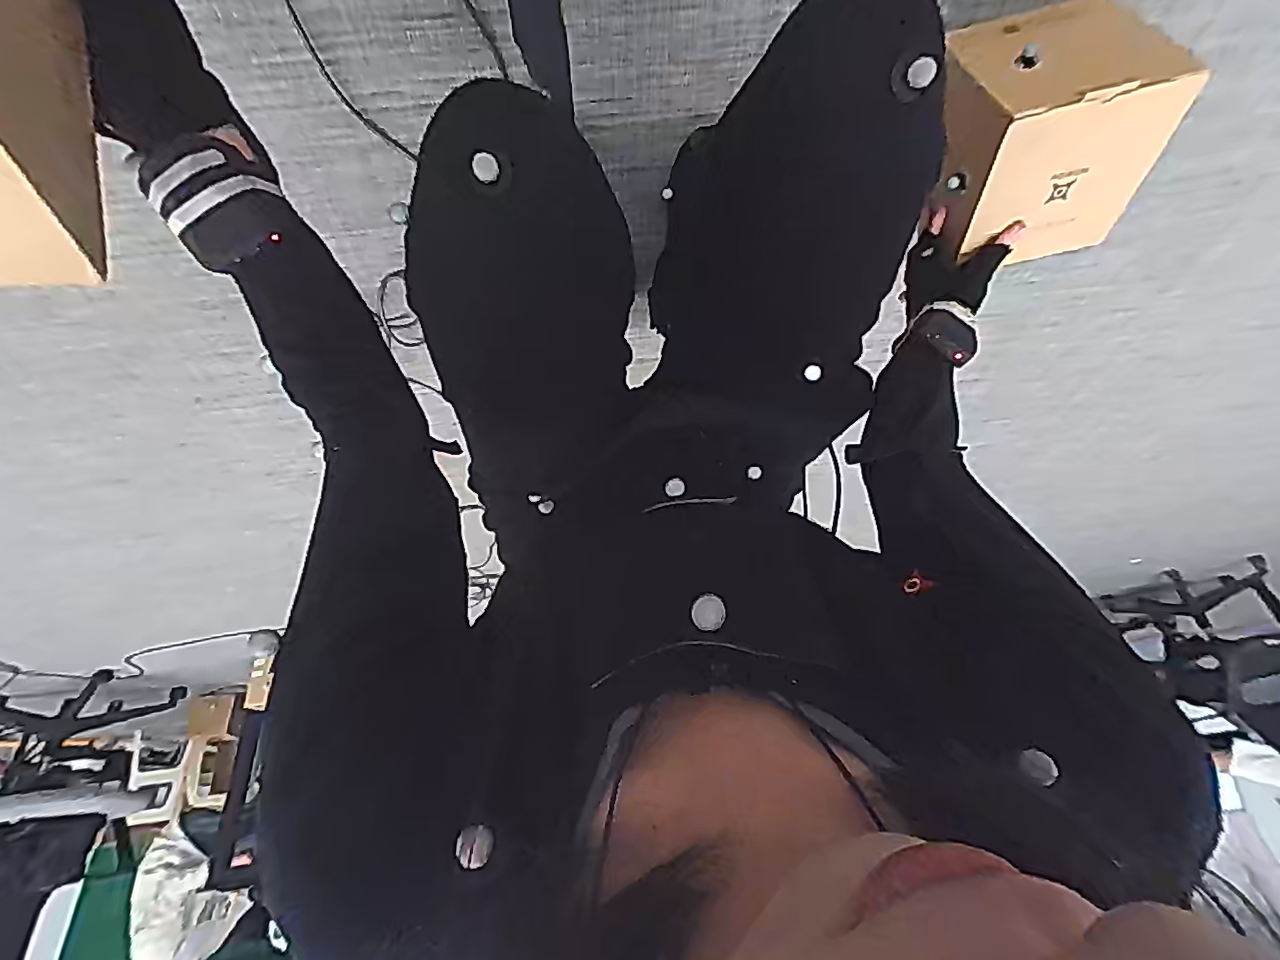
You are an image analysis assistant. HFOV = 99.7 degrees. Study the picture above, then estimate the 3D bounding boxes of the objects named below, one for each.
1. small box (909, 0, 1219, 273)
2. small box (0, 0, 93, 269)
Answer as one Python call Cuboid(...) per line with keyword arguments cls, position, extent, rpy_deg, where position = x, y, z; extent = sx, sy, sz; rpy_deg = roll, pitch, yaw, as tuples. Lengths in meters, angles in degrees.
Cuboid(cls="small box", position=(0.408, -0.358, 0.567), extent=(0.168, 0.176, 0.179), rpy_deg=(-10, 150, 6))
Cuboid(cls="small box", position=(-0.302, -0.184, 0.147), extent=(0.168, 0.179, 0.176), rpy_deg=(-9, 170, -28))
